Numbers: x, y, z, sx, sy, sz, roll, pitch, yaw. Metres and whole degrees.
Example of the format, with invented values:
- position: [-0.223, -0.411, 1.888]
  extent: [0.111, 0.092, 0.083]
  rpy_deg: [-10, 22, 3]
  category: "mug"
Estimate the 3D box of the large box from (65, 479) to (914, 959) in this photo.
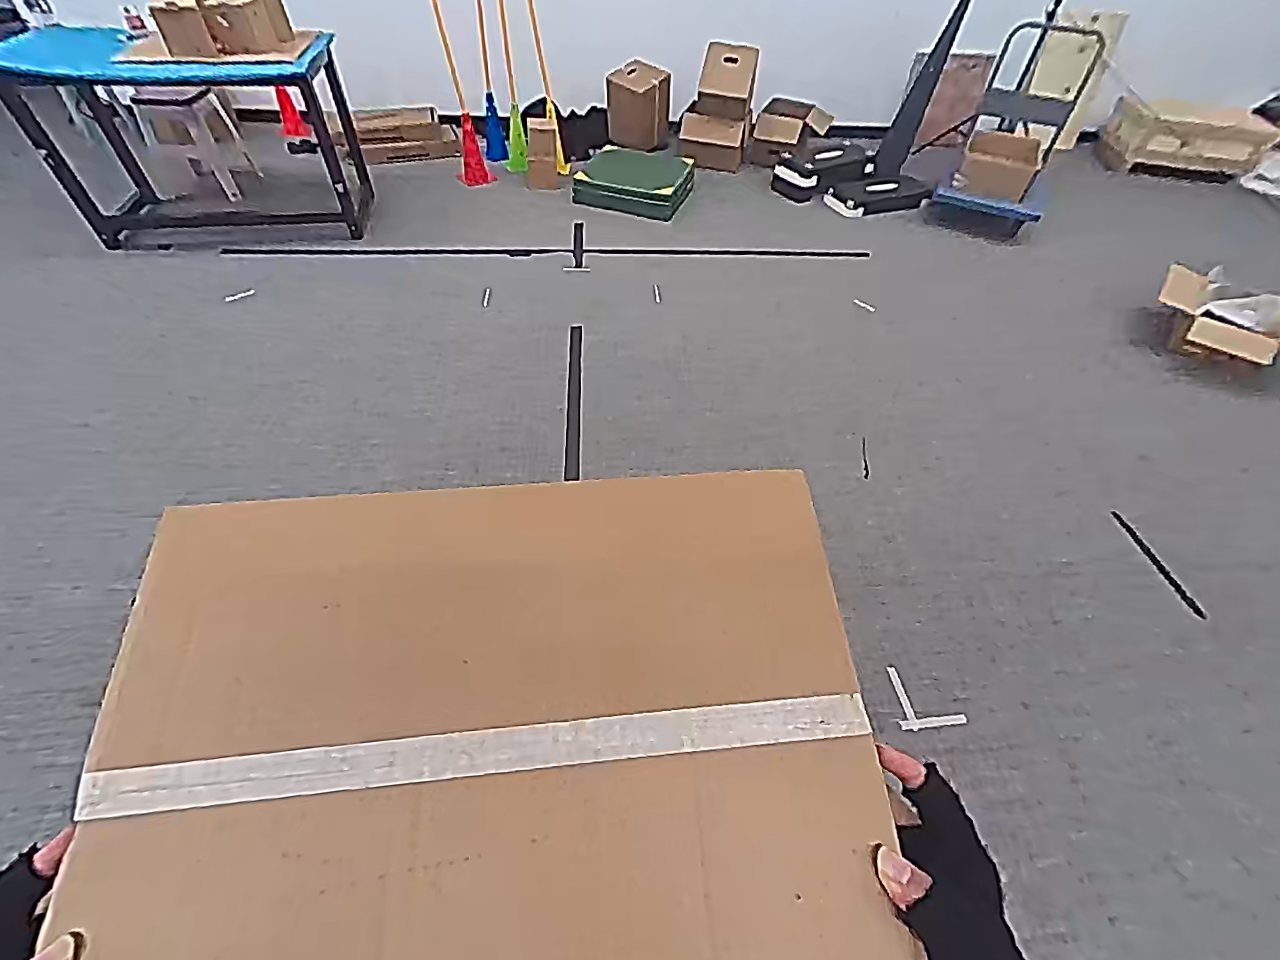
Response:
- position: [-0.082, 0.215, 0.429]
  extent: [0.408, 0.320, 0.320]
  rpy_deg: [-3, 65, -5]
  category: "large box"
